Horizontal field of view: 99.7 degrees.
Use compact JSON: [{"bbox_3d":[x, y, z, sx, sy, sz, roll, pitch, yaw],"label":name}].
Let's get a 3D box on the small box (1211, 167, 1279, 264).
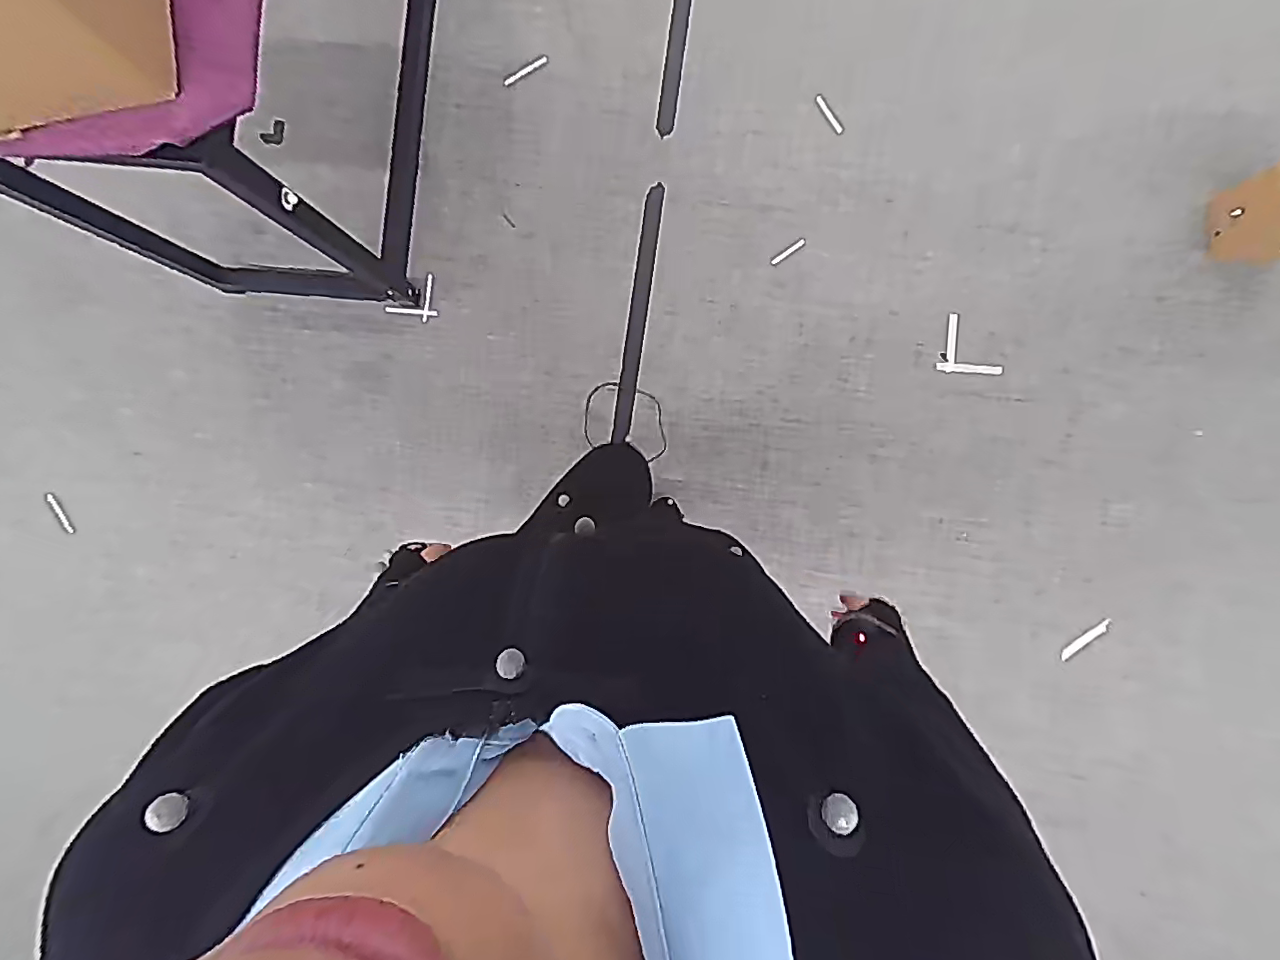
[{"bbox_3d":[1.599,-0.657,1.354,0.179,0.176,0.168,3,90,2],"label":"small box"}]
